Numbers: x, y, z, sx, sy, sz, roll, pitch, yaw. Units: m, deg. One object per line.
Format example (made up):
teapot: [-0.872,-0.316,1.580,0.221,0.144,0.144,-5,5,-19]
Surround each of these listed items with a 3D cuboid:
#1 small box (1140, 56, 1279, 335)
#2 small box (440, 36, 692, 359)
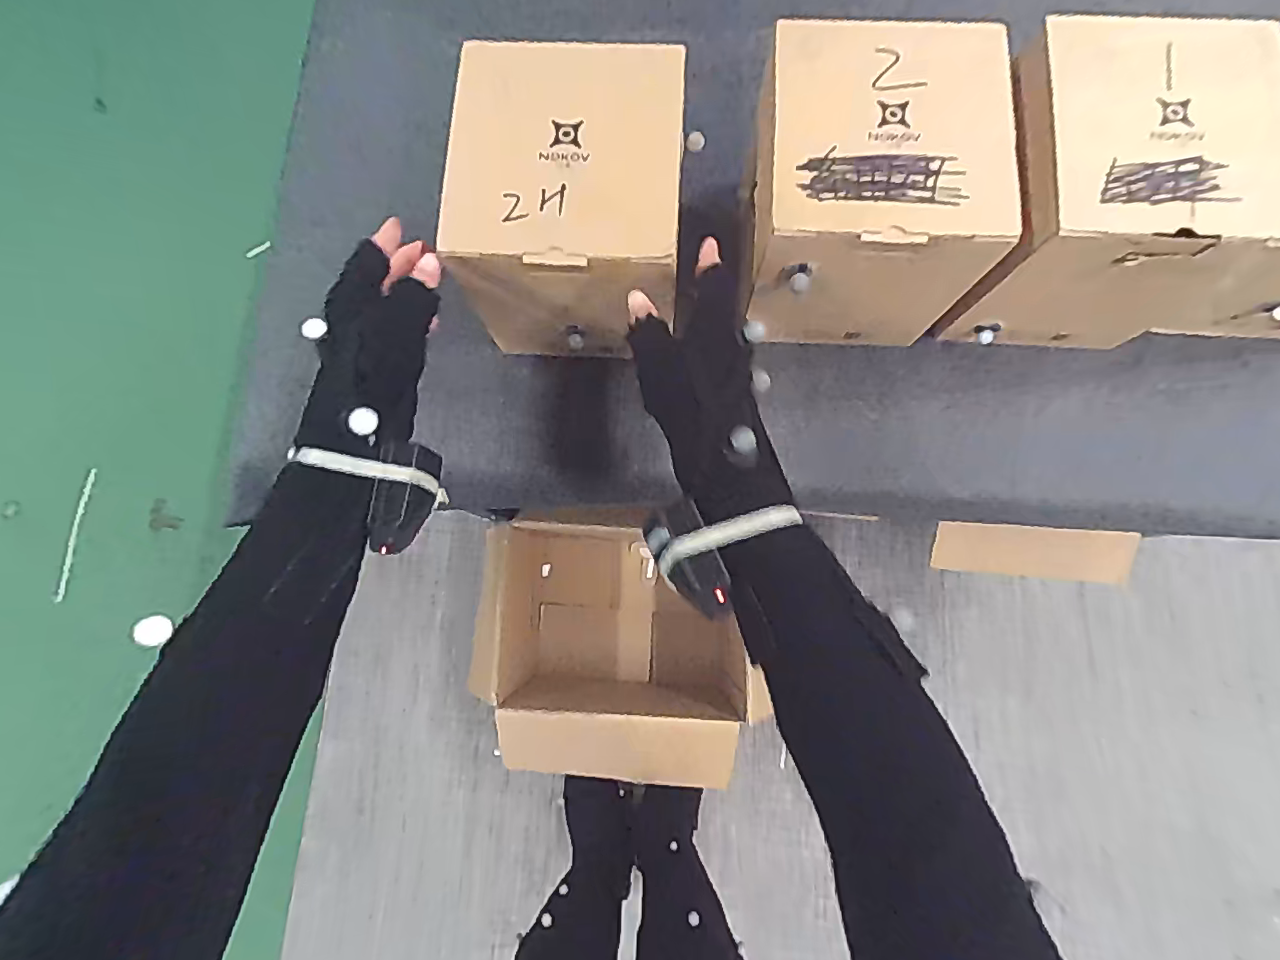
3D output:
small box: [0.563,-0.239,0.442,0.168,0.176,0.179,4,81,3]
small box: [-0.047,-0.221,0.457,0.168,0.176,0.179,3,80,3]
